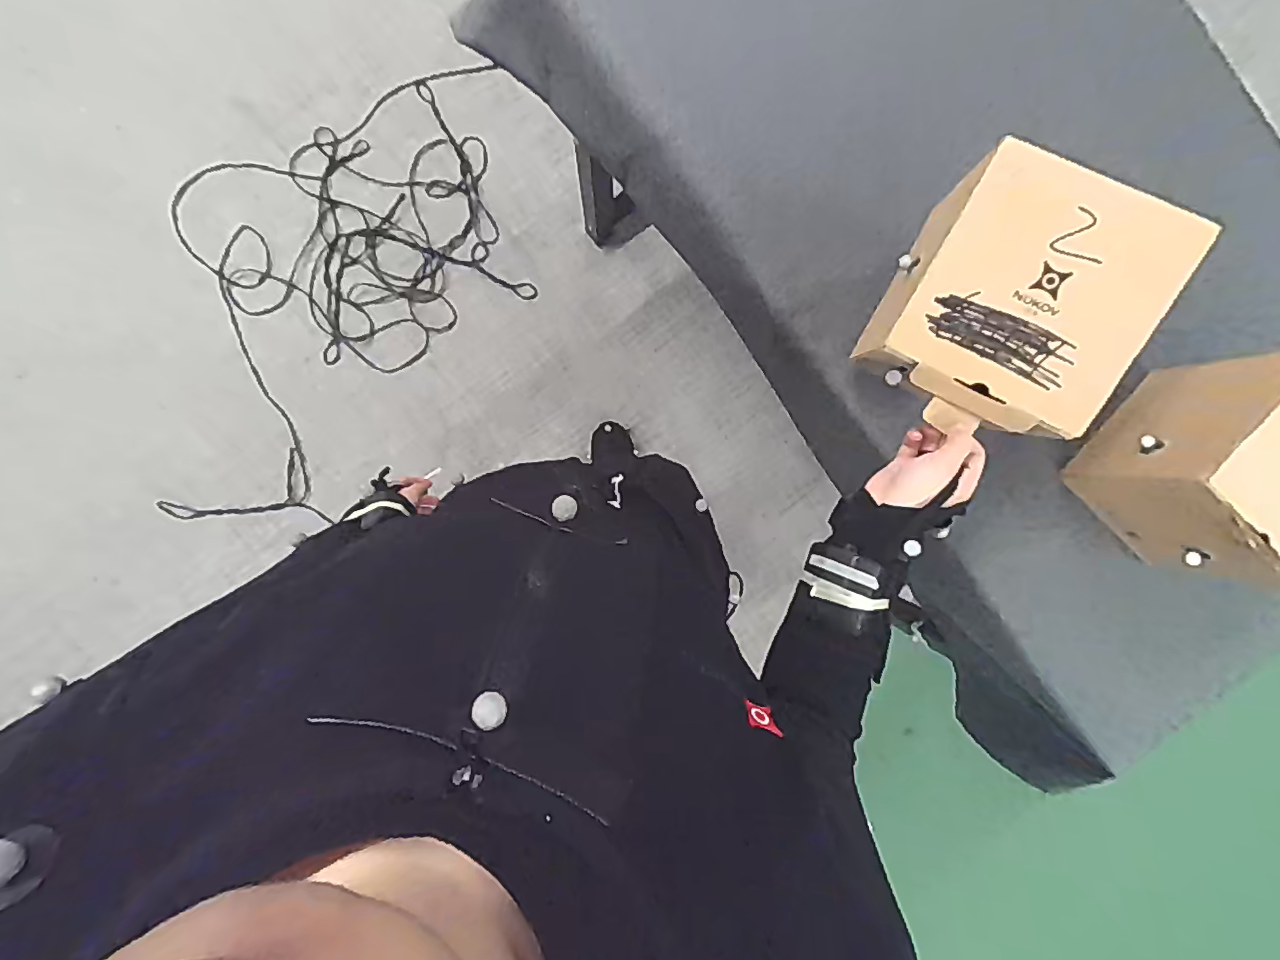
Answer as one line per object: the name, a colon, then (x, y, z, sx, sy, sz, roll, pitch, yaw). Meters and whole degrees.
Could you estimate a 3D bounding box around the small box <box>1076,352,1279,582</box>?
small box: (0.627, -0.010, 0.579, 0.168, 0.176, 0.179, 42, 89, -5)
